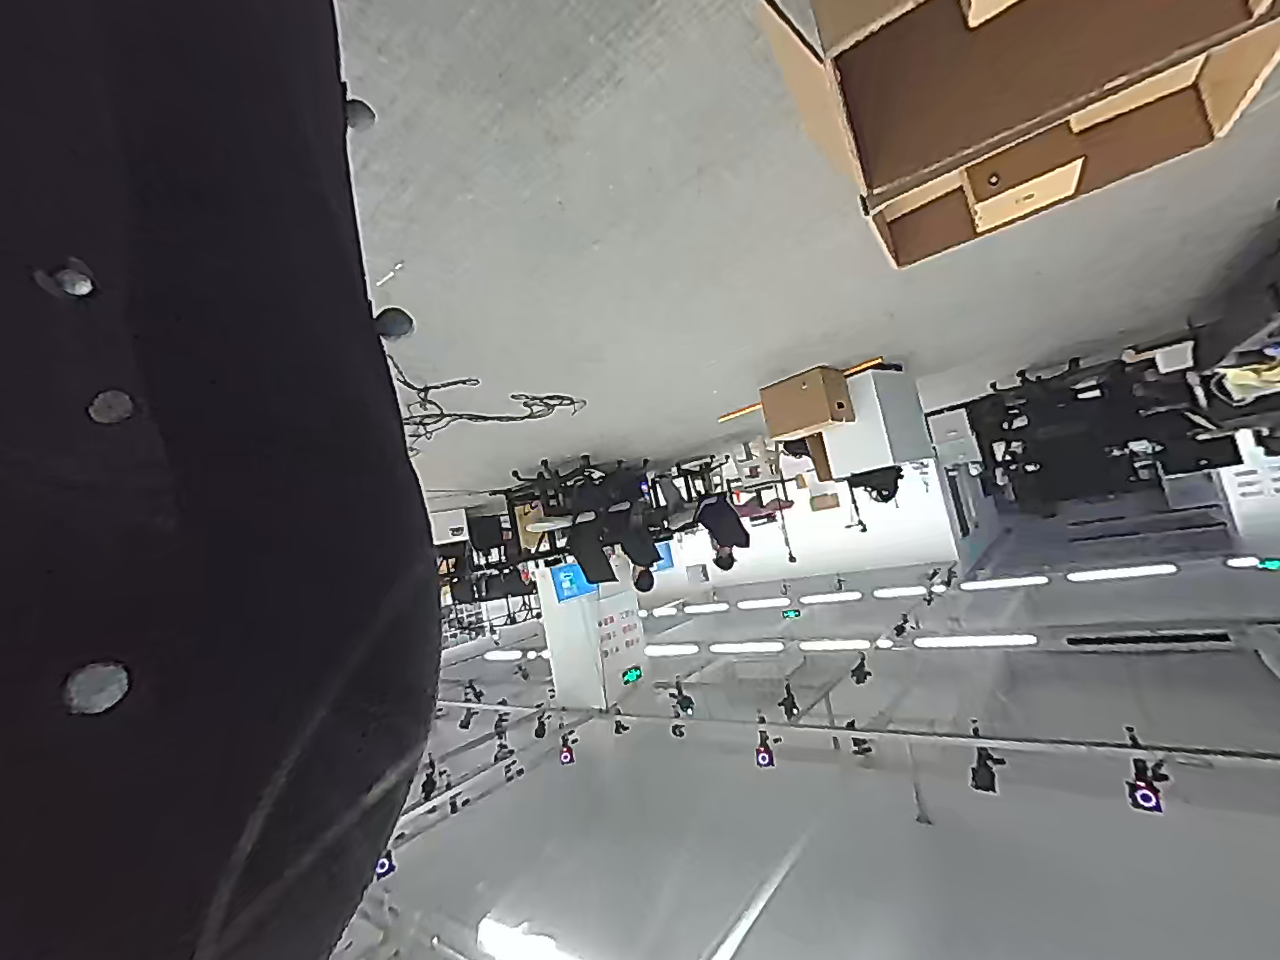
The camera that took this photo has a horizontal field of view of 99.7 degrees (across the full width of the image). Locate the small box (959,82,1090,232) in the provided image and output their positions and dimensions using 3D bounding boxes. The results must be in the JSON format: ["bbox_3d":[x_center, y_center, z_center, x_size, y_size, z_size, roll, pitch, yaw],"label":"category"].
[{"bbox_3d":[0.768,-0.644,1.091,0.179,0.176,0.168,-15,173,34],"label":"small box"}]
